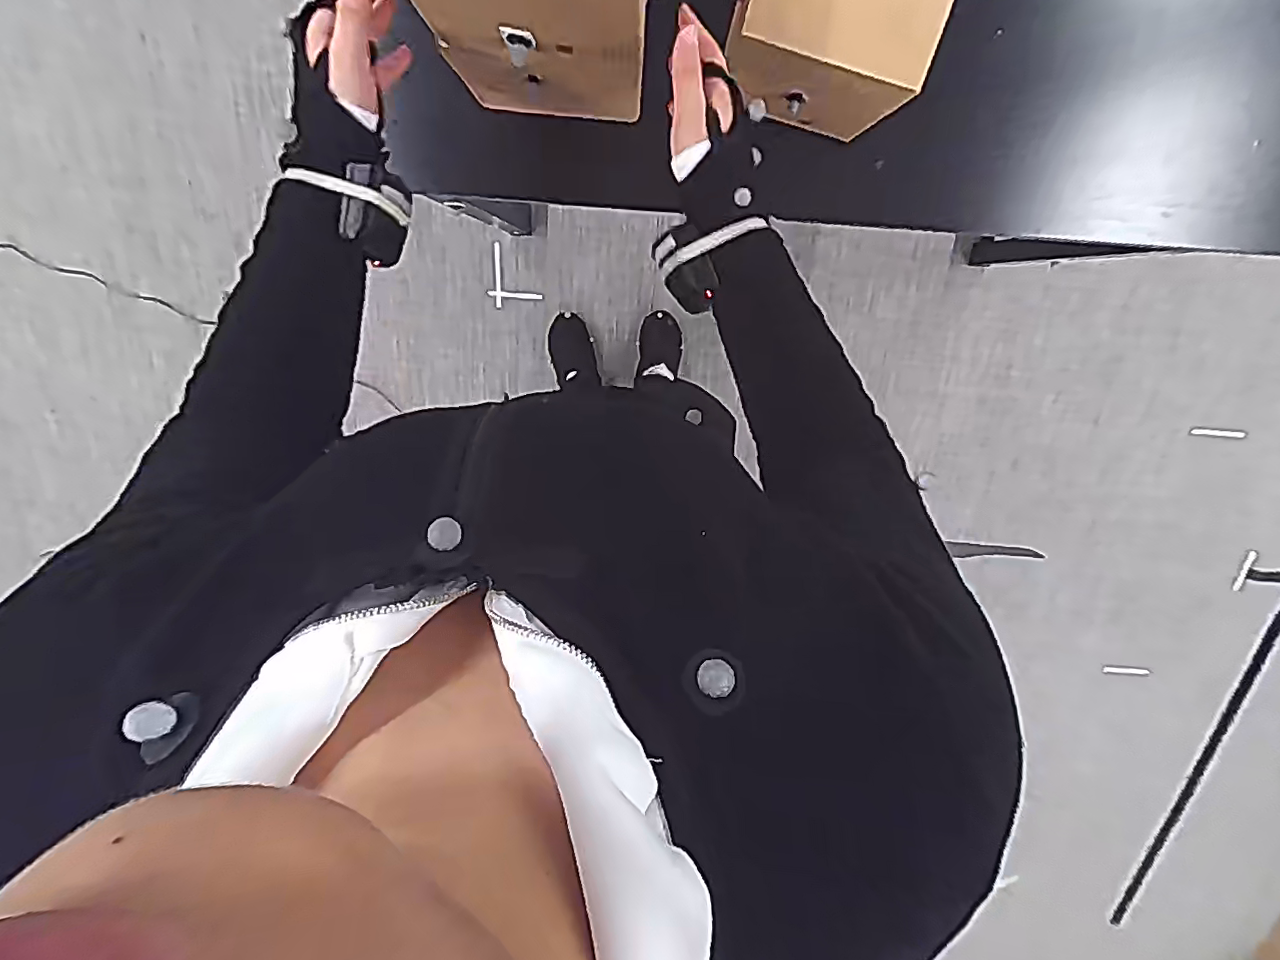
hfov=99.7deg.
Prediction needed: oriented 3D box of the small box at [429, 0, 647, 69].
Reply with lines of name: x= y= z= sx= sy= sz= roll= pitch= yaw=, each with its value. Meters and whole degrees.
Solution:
small box: x=-0.070 y=-0.412 z=0.354 sx=0.168 sy=0.176 sz=0.179 roll=4 pitch=110 yaw=-2

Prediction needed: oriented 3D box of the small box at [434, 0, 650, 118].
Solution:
small box: x=-0.080 y=-0.464 z=0.510 sx=0.179 sy=0.176 sz=0.168 roll=4 pitch=109 yaw=-2

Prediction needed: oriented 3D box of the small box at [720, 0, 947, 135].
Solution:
small box: x=0.182 y=-0.462 z=0.514 sx=0.168 sy=0.176 sz=0.179 roll=13 pitch=108 yaw=-6
